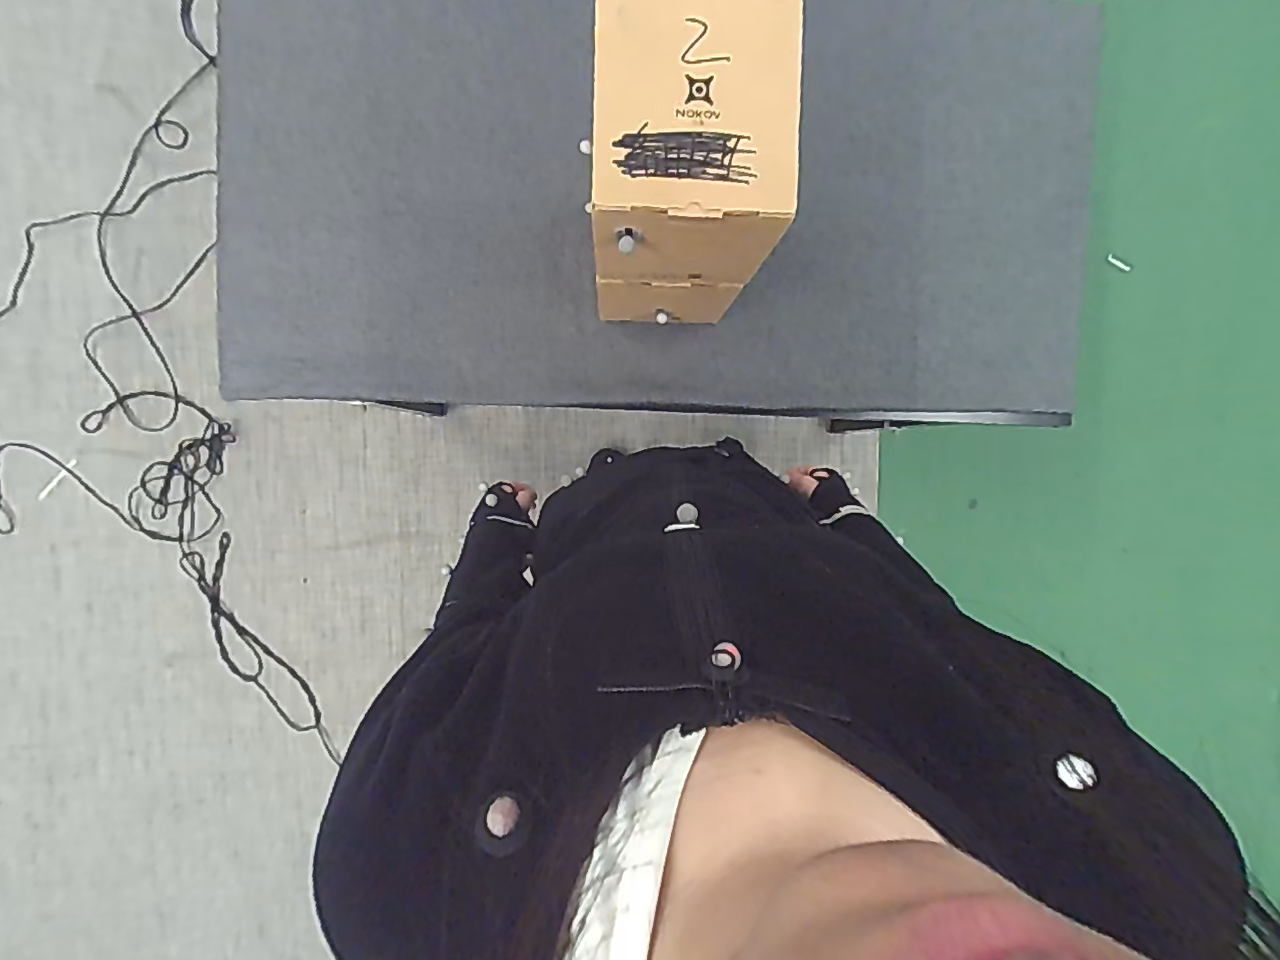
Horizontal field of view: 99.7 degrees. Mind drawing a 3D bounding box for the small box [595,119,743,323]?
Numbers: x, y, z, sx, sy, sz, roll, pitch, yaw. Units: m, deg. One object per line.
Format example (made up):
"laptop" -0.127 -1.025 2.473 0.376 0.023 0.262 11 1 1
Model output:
"small box" 0.027 -0.308 0.675 0.168 0.176 0.179 0 93 -3
